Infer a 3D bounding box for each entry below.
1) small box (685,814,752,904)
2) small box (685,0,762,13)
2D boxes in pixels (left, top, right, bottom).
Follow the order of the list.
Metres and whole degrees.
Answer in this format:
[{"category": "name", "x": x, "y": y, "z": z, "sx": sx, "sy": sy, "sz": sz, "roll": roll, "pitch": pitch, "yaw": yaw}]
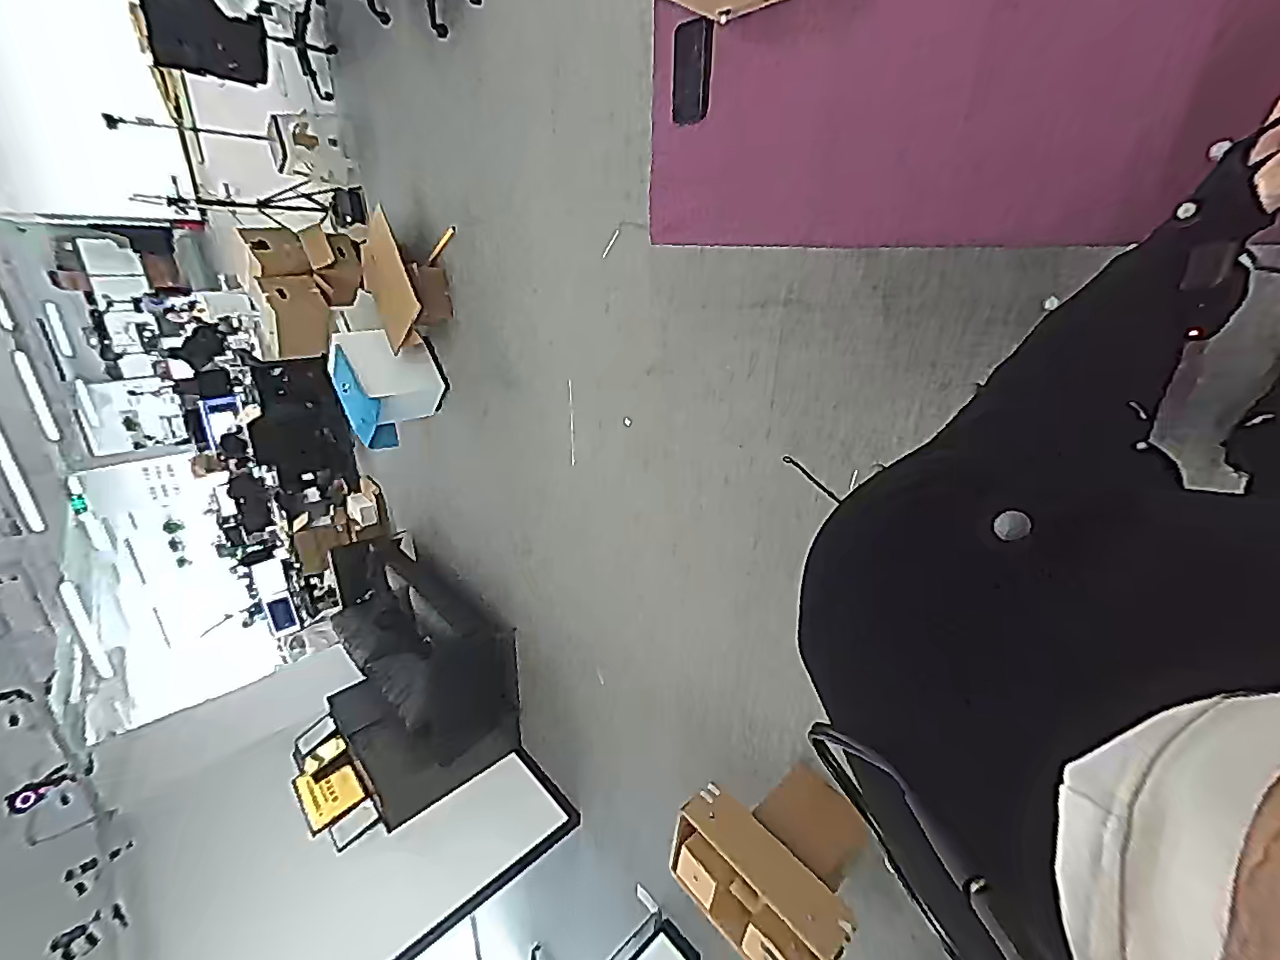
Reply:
[{"category": "small box", "x": 0.291, "y": 1.390, "z": 1.993, "sx": 0.168, "sy": 0.176, "sz": 0.179, "roll": 30, "pitch": 125, "yaw": 40}, {"category": "small box", "x": 0.138, "y": -0.811, "z": 0.775, "sx": 0.168, "sy": 0.176, "sz": 0.179, "roll": 22, "pitch": 121, "yaw": 43}]
